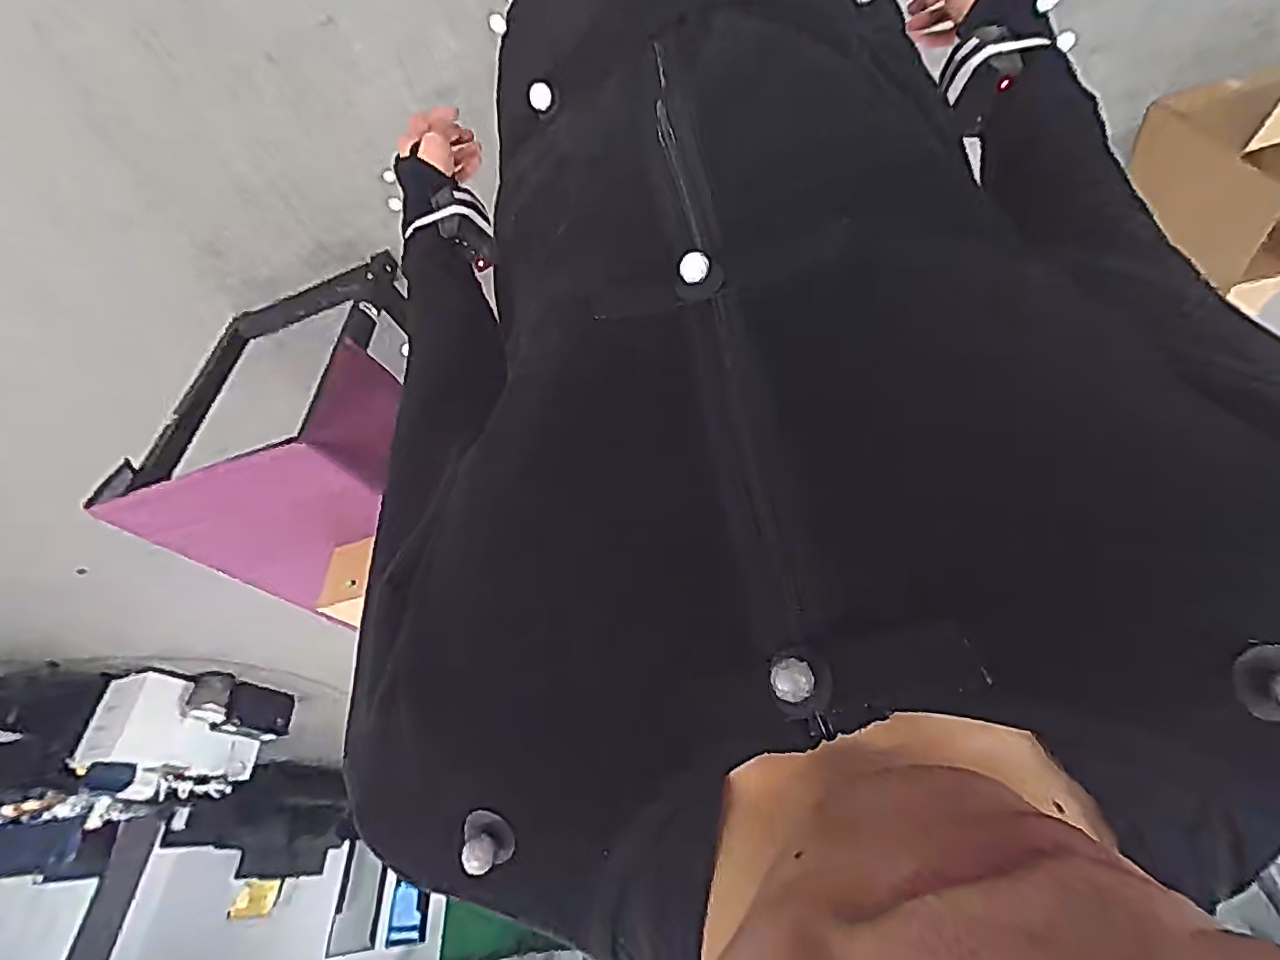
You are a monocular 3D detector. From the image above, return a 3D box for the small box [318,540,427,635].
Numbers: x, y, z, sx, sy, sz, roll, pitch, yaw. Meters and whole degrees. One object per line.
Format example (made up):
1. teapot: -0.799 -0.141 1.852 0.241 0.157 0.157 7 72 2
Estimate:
1. small box: -0.656 0.269 1.352 0.179 0.176 0.168 -16 142 17
